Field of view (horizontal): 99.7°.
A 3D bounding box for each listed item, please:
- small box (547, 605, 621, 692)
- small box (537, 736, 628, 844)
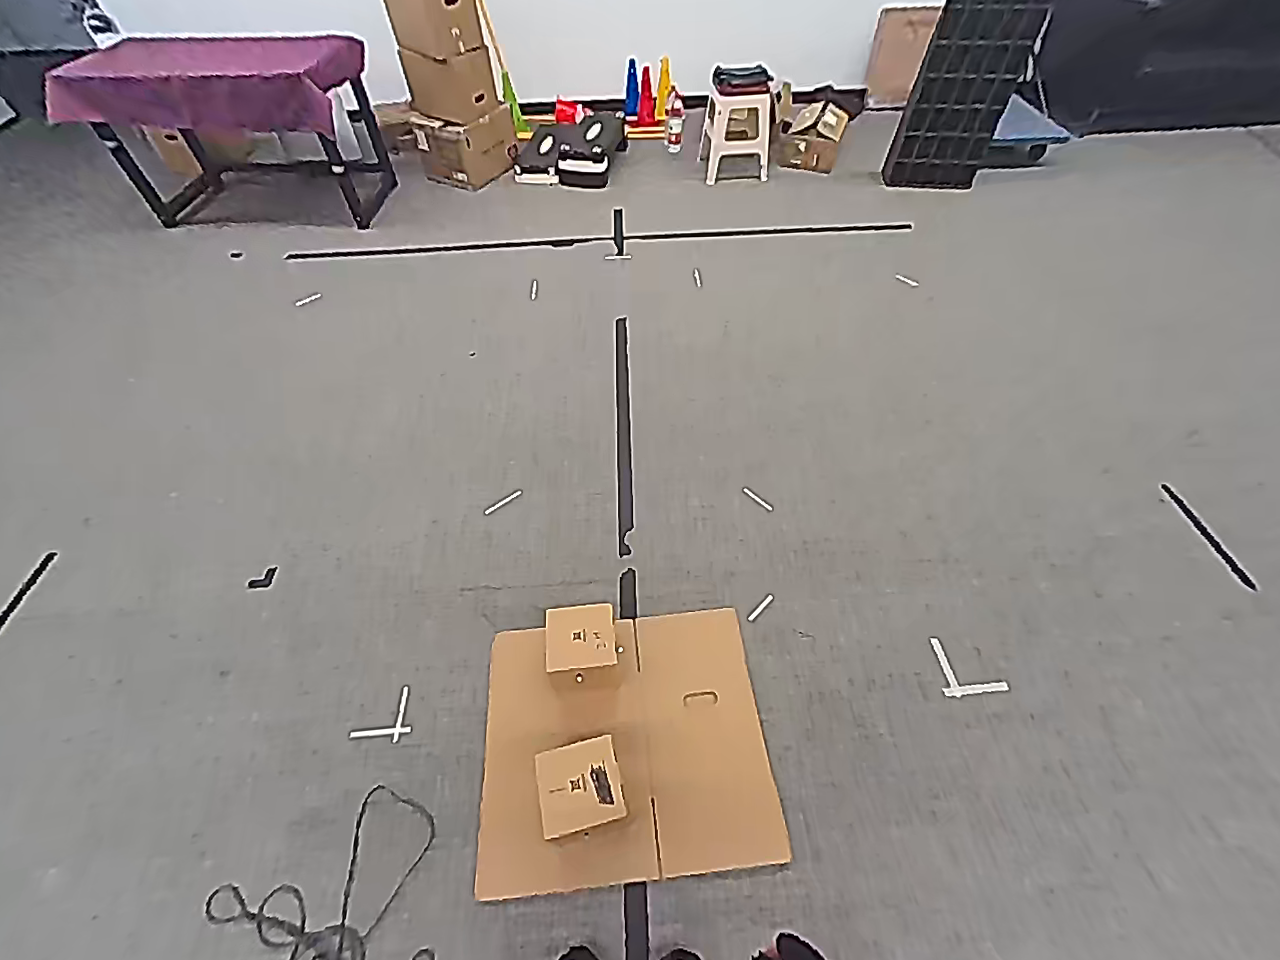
[{"bbox_3d":[-0.146,0.447,1.426,0.179,0.176,0.168,-4,51,-3],"label":"small box"},{"bbox_3d":[-0.127,0.701,1.221,0.179,0.176,0.168,-12,52,-8],"label":"small box"}]
